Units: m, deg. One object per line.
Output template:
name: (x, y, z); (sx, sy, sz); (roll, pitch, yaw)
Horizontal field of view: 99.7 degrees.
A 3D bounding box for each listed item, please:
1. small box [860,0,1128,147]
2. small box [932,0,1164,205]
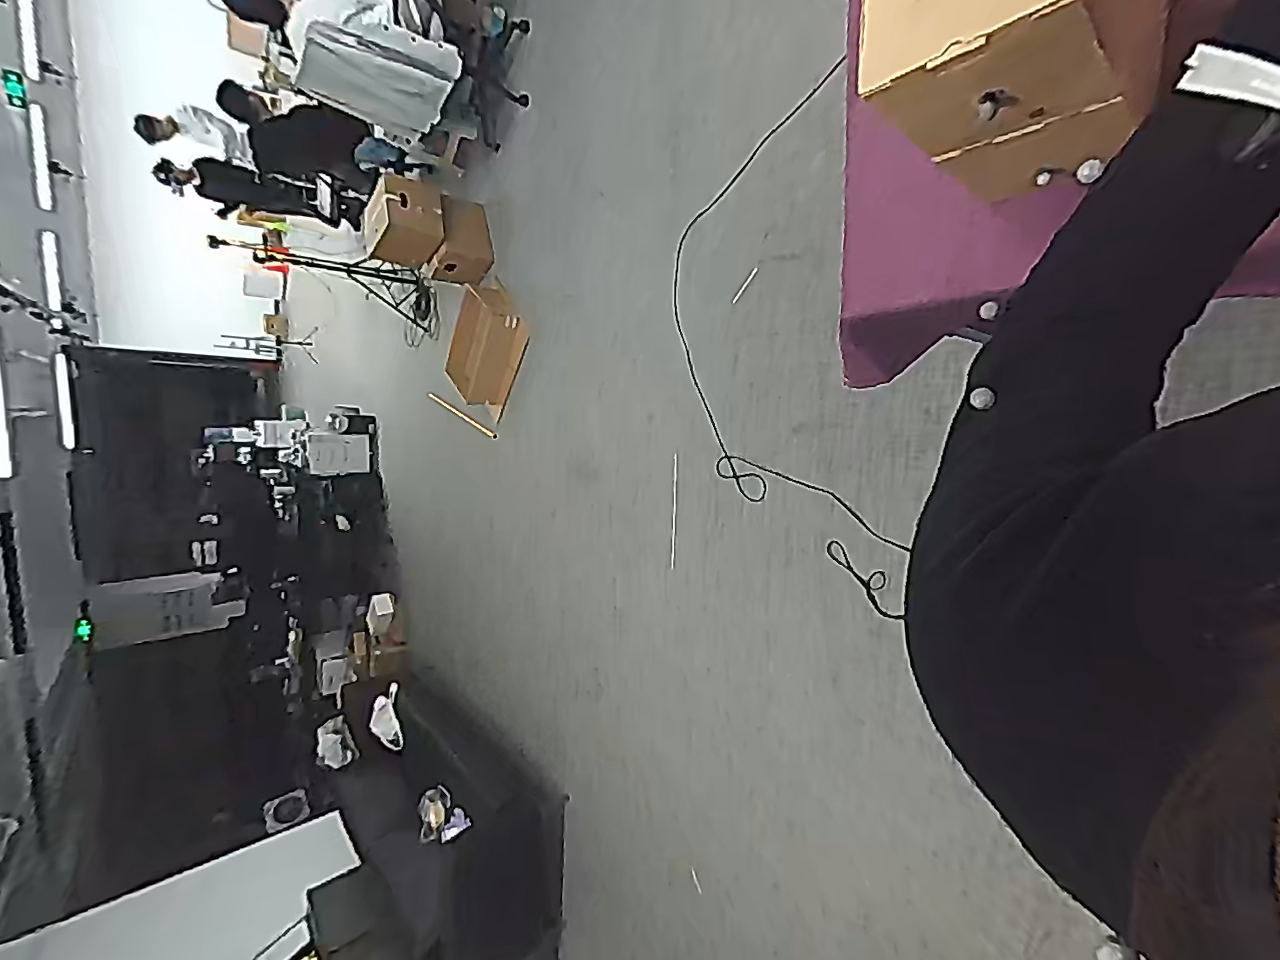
small box: (0.320, -0.431, 0.485); (0.168, 0.176, 0.179); (8, 99, 48)
small box: (0.446, -0.434, 0.592); (0.168, 0.176, 0.179); (8, 98, 50)
